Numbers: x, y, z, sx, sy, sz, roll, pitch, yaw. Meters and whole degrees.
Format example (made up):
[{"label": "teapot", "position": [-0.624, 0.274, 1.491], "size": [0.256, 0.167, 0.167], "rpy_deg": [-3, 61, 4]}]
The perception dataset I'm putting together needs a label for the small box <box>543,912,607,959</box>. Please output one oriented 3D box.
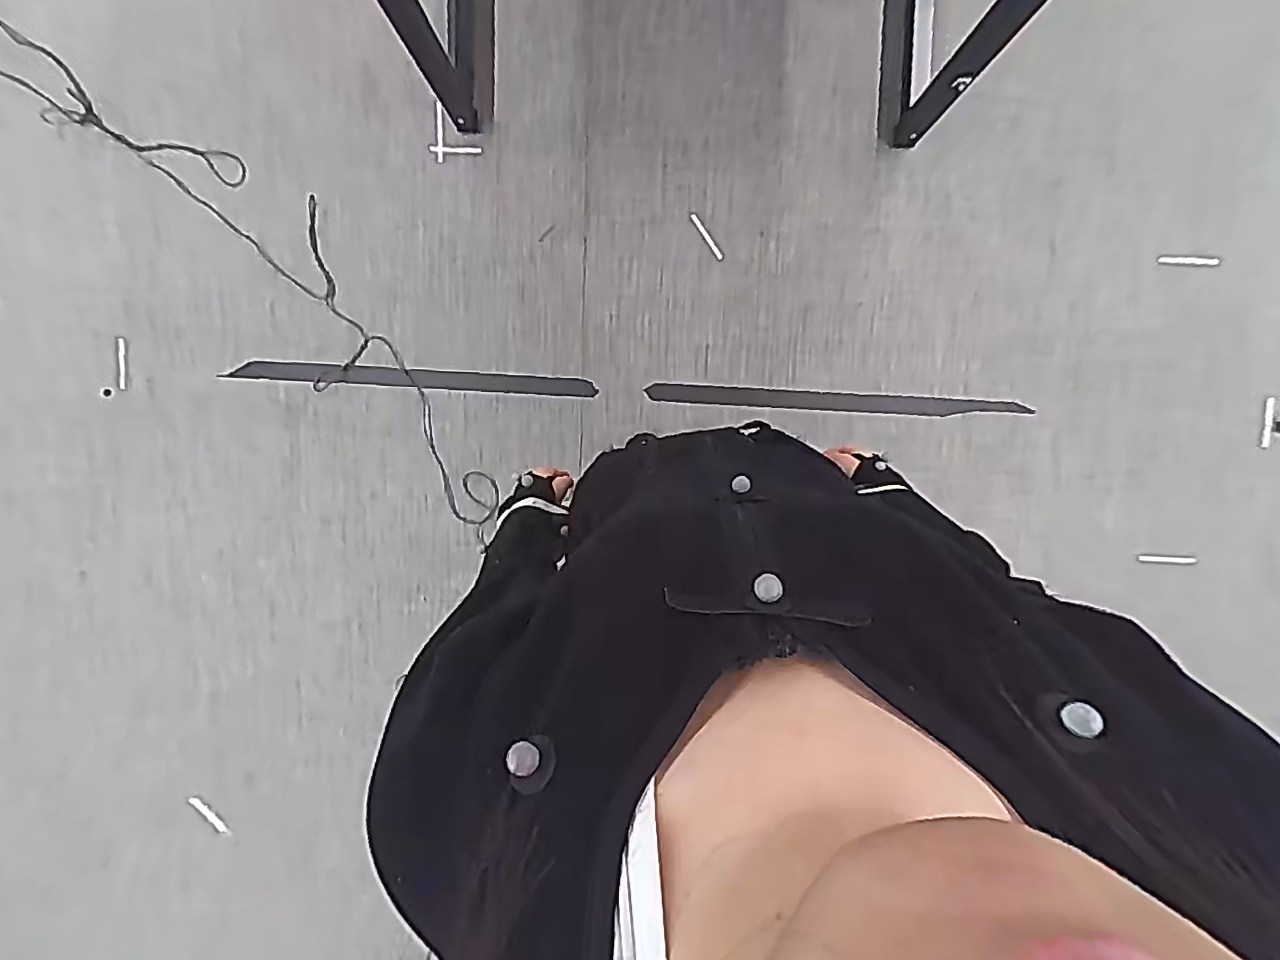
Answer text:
[{"label": "small box", "position": [-0.186, 1.386, 1.553], "size": [0.168, 0.176, 0.179], "rpy_deg": [-2, 96, 2]}]
